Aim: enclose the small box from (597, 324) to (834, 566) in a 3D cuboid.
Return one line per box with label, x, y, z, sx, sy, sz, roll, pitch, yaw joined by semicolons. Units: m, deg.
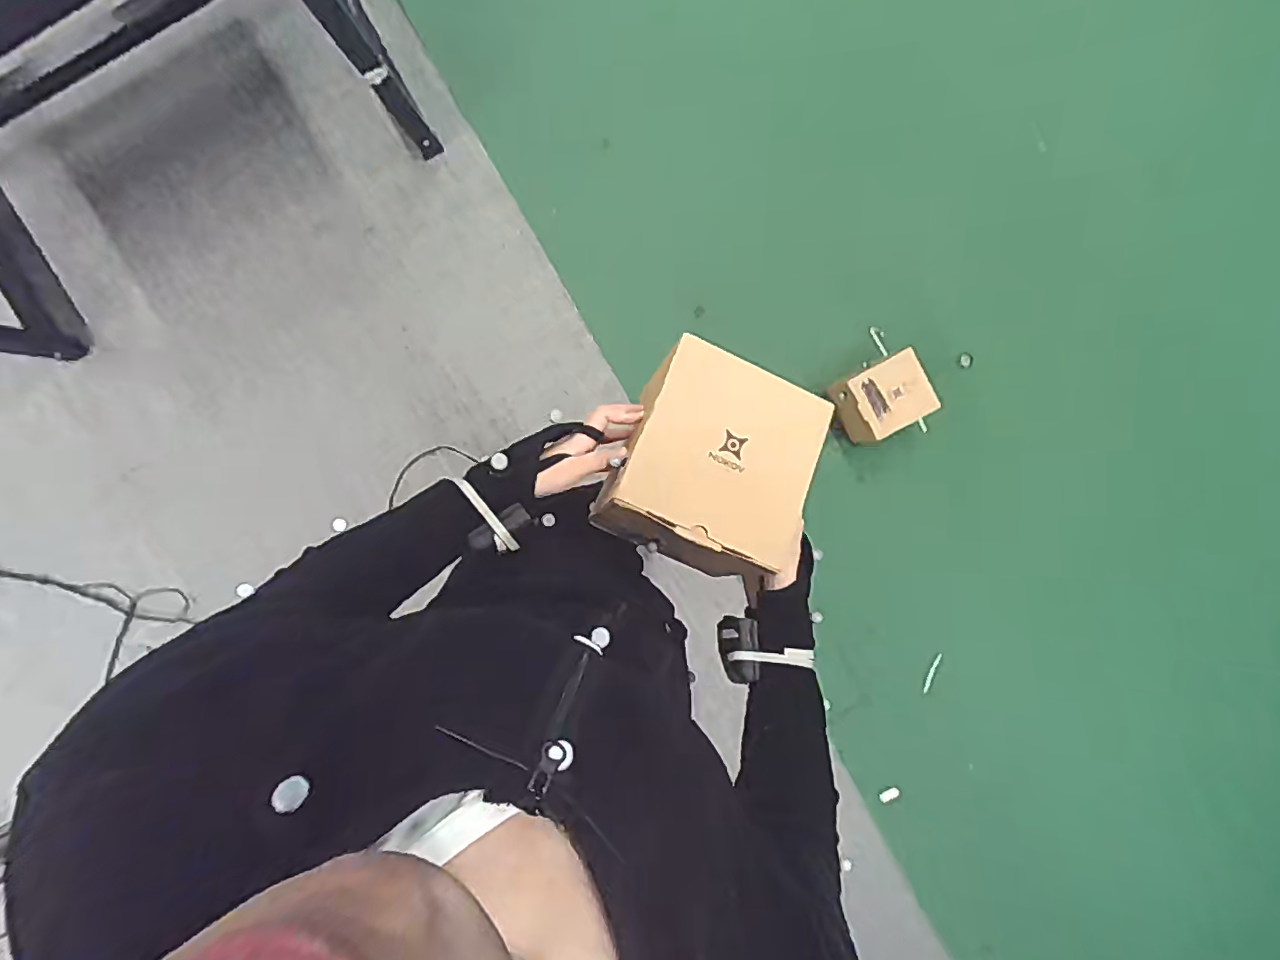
small box;0.065;-0.021;0.559;0.168;0.176;0.179;23;76;-7
